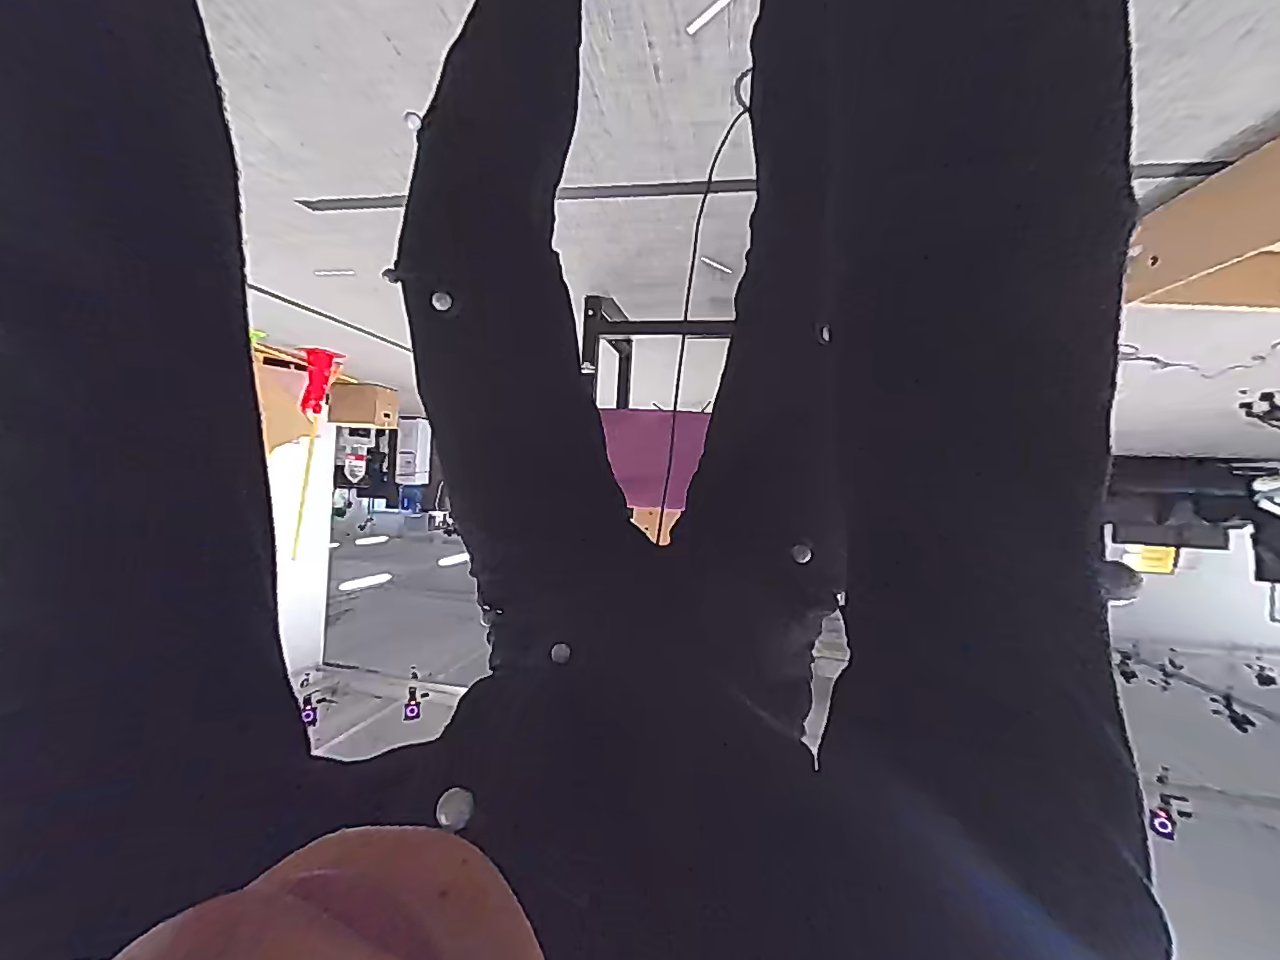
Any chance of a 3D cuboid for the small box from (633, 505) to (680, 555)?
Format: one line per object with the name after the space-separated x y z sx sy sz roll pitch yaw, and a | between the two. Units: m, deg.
0.063 0.182 2.018 0.168 0.176 0.179 3 180 5 | small box
